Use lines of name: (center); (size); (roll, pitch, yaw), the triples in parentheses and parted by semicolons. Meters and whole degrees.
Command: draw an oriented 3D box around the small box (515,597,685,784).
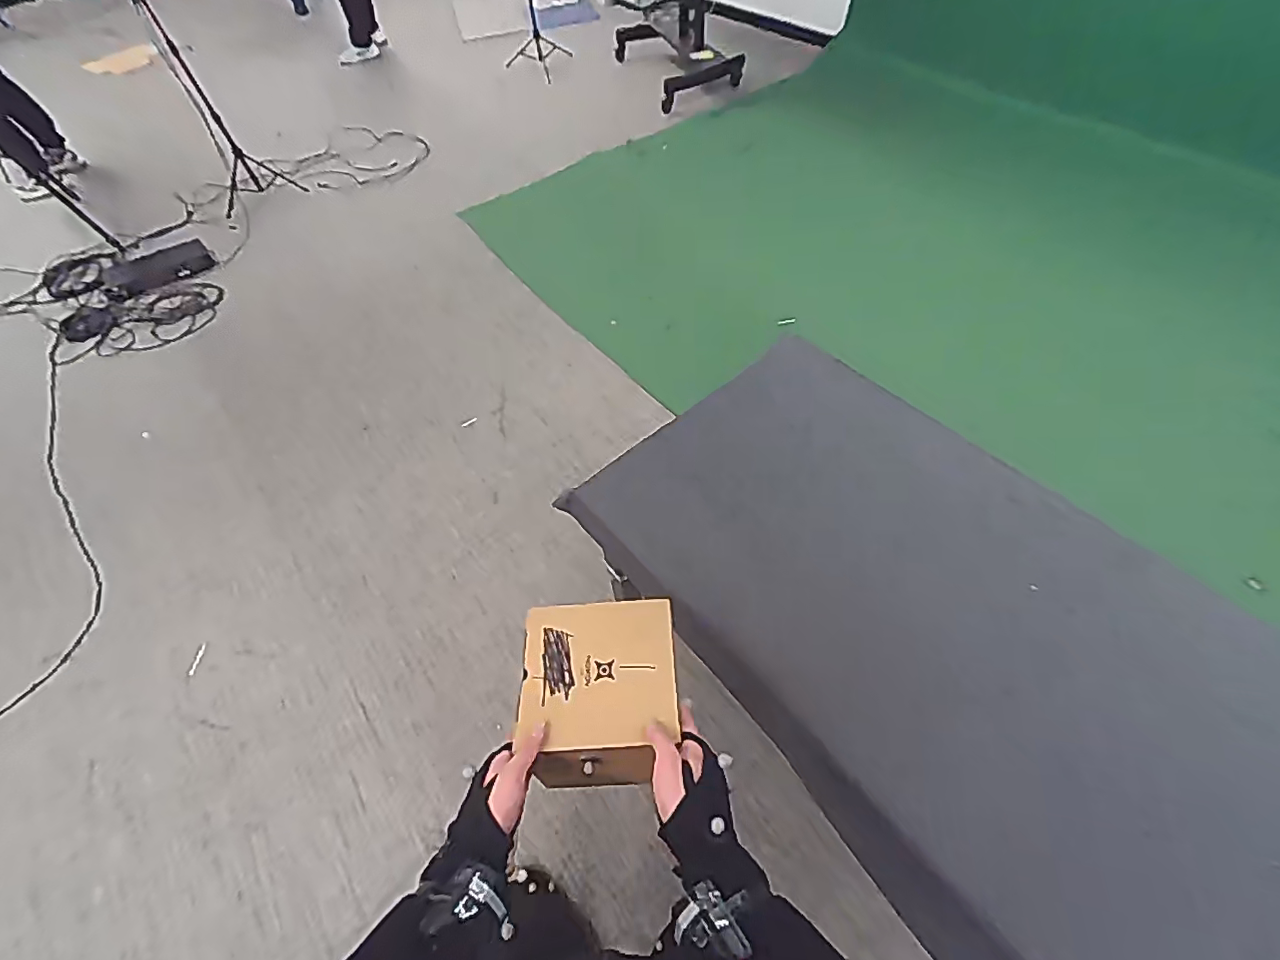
small box: (-0.038, 0.259, 0.656); (0.179, 0.176, 0.168); (-4, 50, 1)
